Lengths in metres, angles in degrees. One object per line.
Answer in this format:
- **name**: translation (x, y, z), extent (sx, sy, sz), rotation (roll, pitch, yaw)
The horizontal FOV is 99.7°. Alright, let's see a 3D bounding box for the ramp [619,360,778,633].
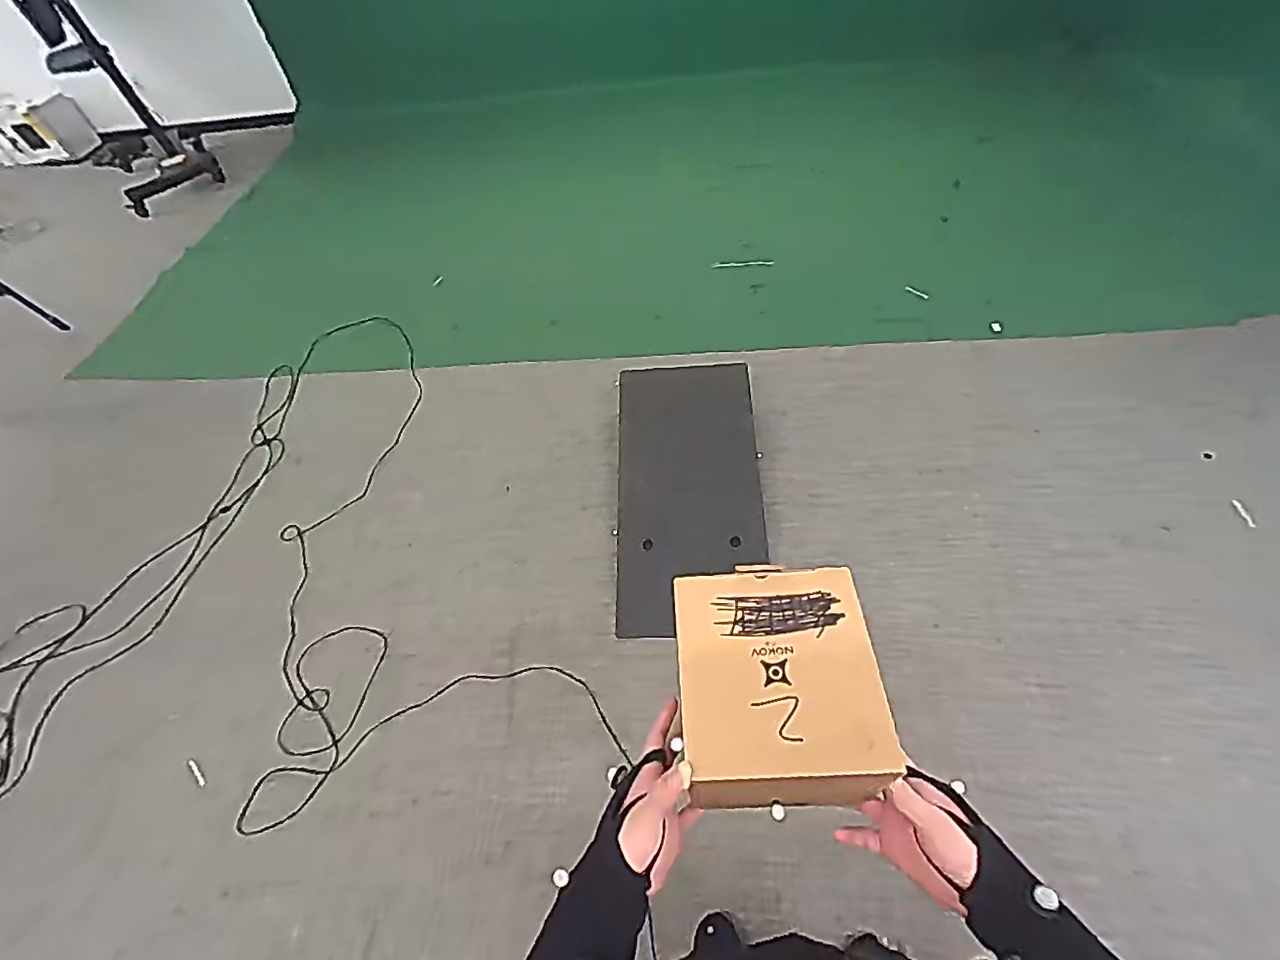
- **ramp**: translation (0.175, 0.009, 1.849), extent (0.509, 0.206, 0.991), rotation (-3, 54, 3)
